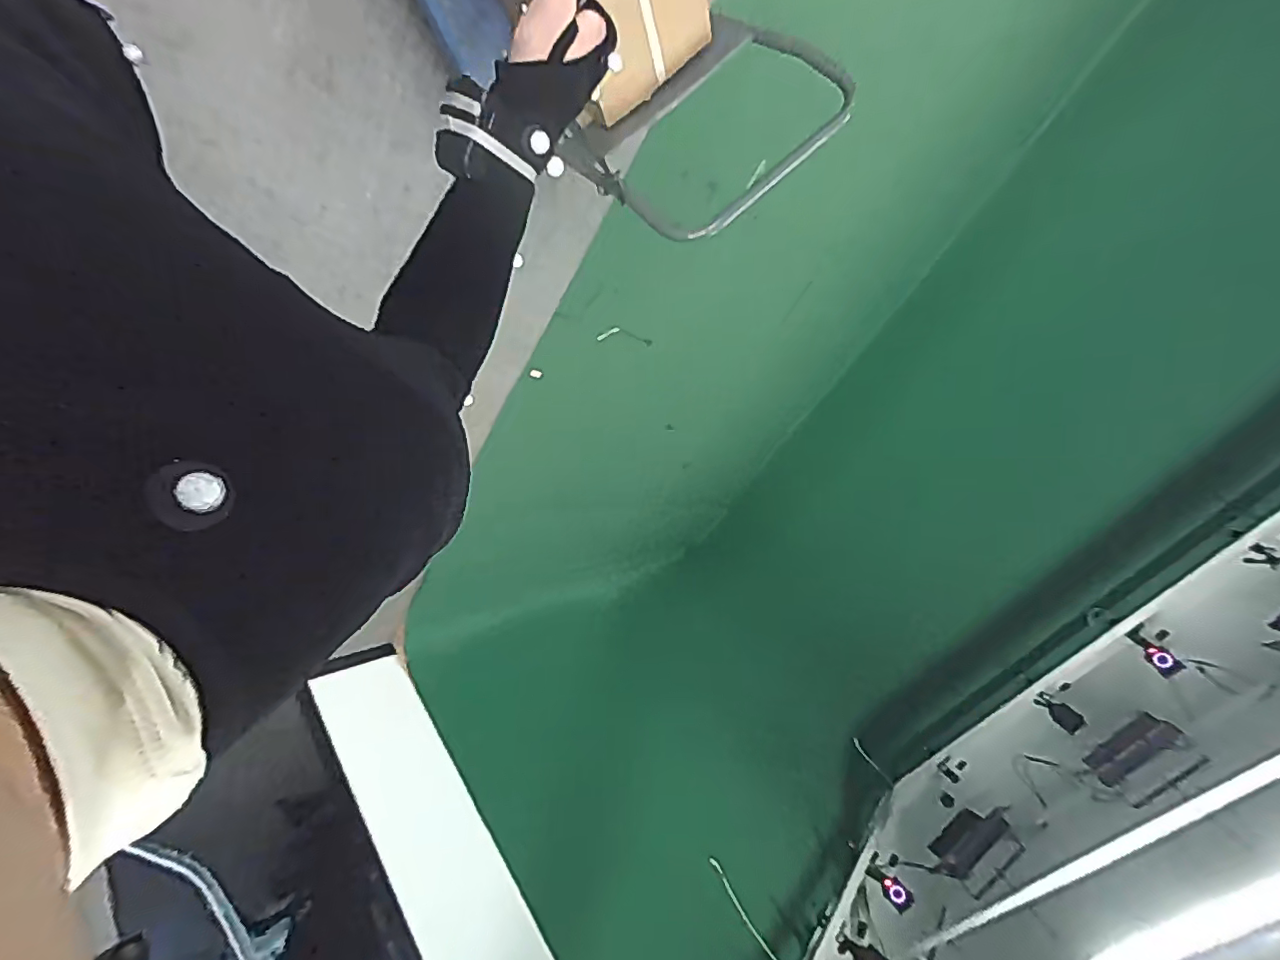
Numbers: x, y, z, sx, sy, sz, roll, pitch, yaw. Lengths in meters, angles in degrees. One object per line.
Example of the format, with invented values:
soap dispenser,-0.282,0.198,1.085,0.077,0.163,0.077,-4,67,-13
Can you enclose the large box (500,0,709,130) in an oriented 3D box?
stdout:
large box,-0.105,-1.035,1.087,0.320,0.320,0.408,-41,153,-2
